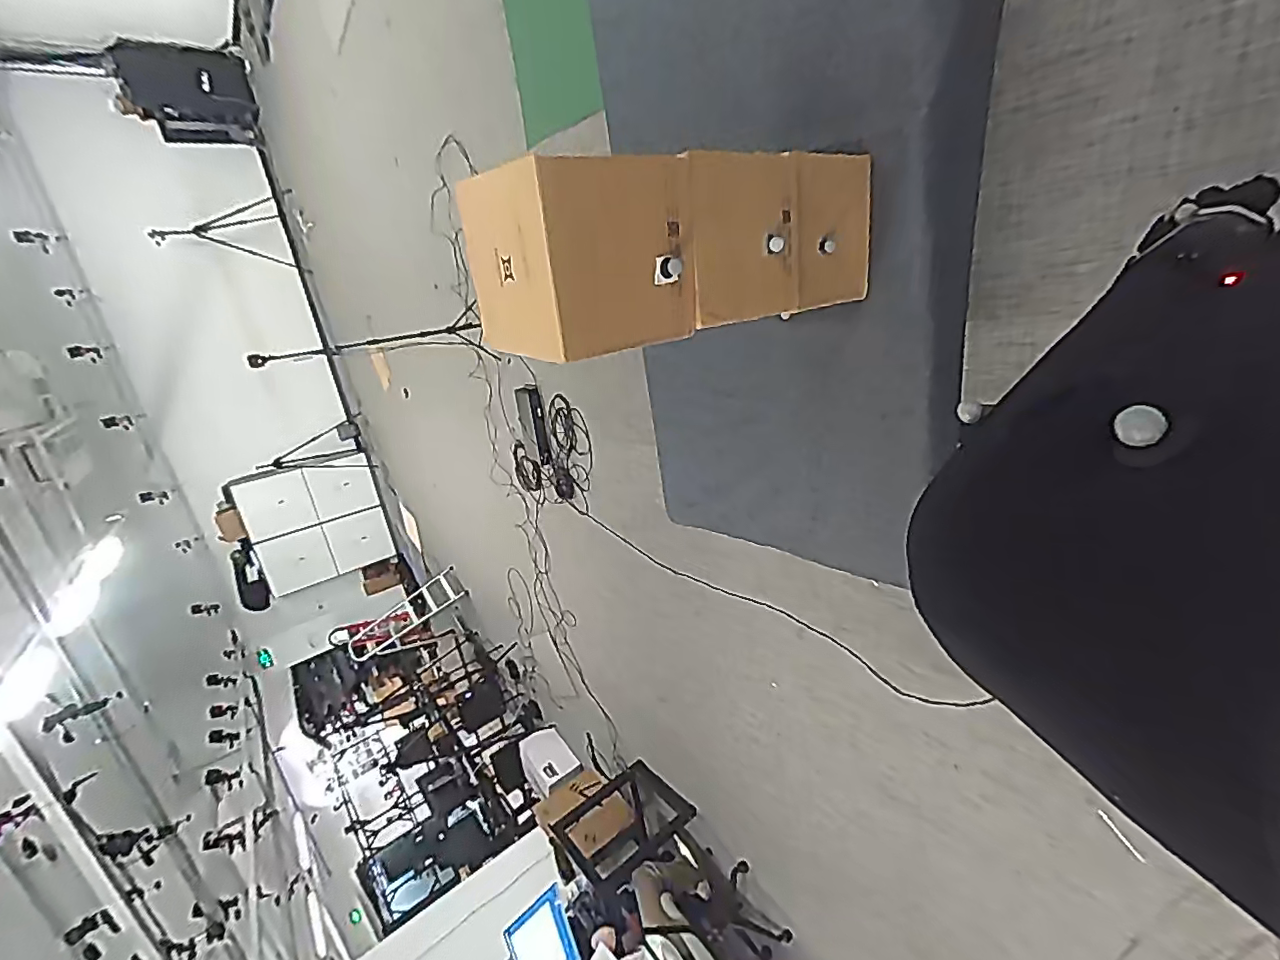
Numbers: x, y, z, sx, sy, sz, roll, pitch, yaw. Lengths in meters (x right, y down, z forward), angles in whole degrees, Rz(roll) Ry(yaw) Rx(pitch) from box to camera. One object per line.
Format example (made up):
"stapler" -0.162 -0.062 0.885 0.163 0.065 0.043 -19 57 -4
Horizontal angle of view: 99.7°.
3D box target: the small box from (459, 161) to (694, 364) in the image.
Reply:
"small box" -0.064 -0.228 0.570 0.179 0.176 0.168 22 127 48

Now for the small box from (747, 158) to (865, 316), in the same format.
"small box" 0.191 -0.329 0.747 0.168 0.176 0.179 19 124 51

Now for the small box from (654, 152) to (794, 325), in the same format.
"small box" 0.063 -0.279 0.657 0.179 0.176 0.168 17 121 53
